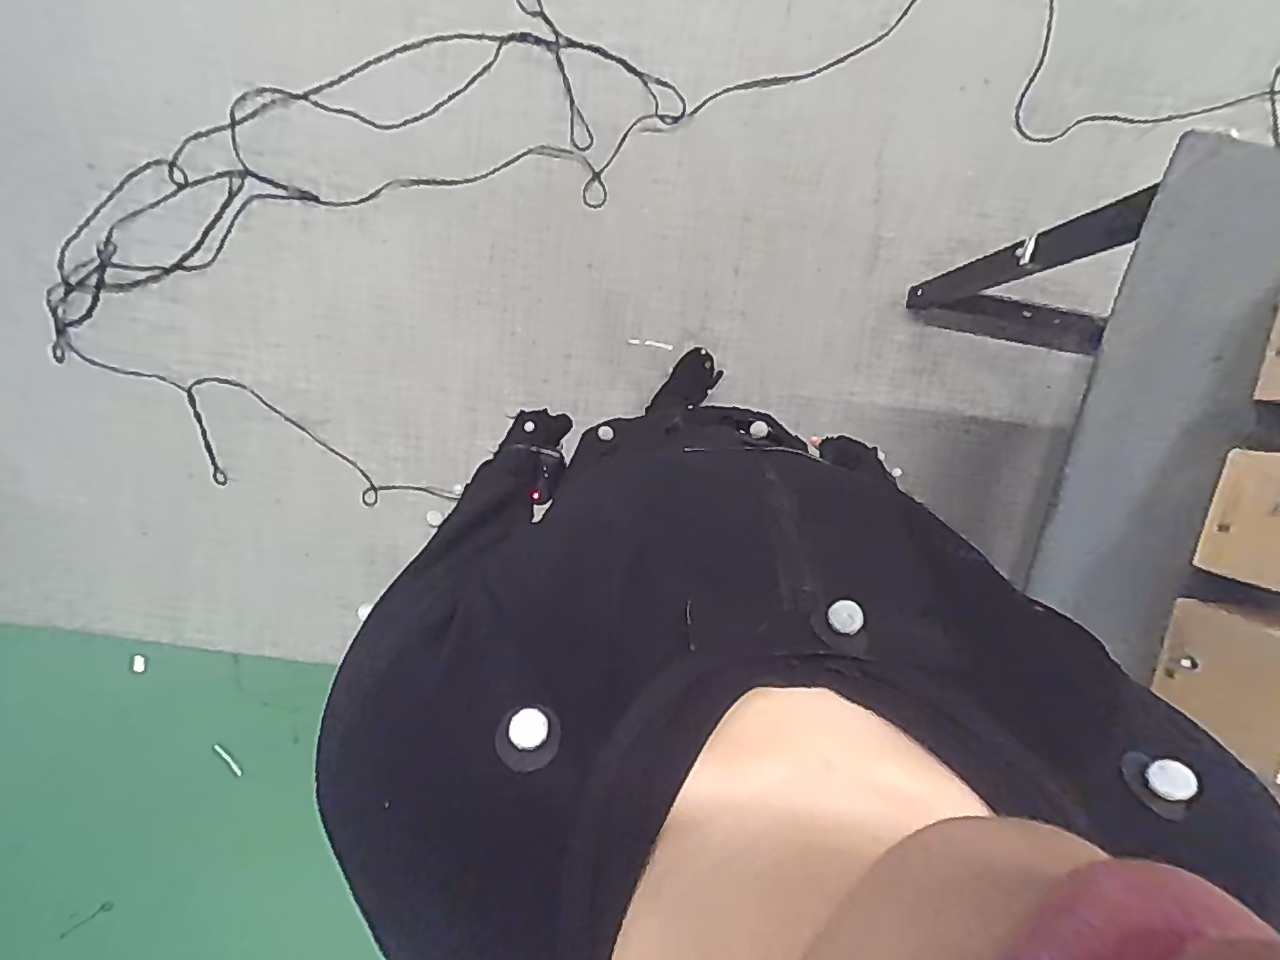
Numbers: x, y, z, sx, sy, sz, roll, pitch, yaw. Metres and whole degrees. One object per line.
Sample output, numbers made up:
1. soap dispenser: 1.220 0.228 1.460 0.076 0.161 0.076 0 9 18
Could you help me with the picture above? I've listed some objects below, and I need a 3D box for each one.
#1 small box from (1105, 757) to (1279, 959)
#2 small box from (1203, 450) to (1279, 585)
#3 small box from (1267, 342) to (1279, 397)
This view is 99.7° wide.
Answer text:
1. small box: 0.788 0.498 0.717 0.179 0.176 0.168 8 98 -1
2. small box: 0.864 0.059 0.656 0.179 0.176 0.168 9 98 -2
3. small box: 0.907 -0.170 0.621 0.179 0.176 0.168 6 99 -2
